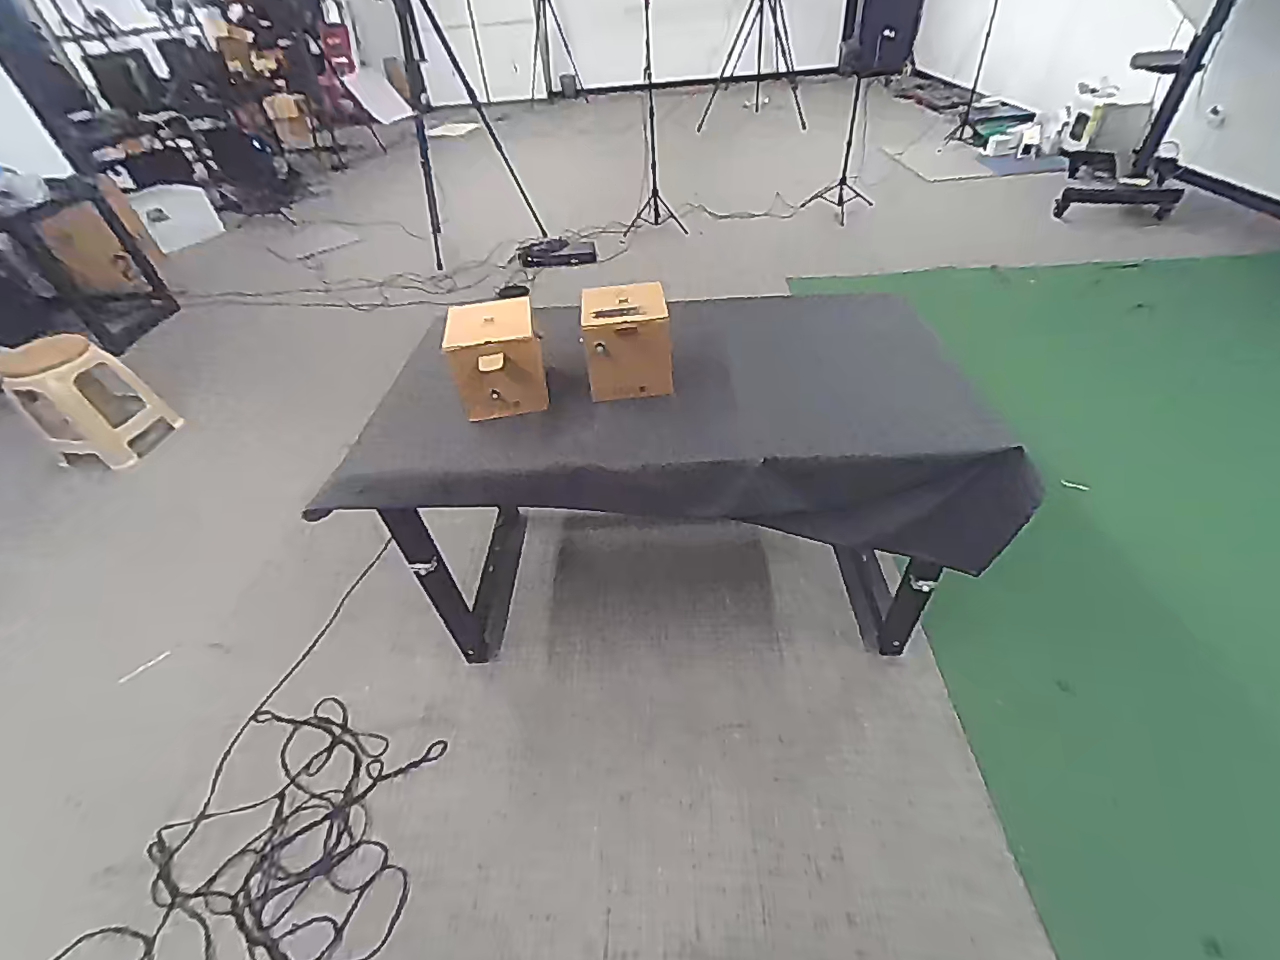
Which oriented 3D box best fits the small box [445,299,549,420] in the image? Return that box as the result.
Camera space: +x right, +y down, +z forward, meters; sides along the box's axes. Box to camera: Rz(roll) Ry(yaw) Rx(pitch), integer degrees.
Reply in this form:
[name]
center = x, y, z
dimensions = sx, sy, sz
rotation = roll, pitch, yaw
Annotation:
[small box]
center = -0.283, -0.244, 1.097
dimensions = 0.168, 0.176, 0.179
rotation = -10, 43, -5
